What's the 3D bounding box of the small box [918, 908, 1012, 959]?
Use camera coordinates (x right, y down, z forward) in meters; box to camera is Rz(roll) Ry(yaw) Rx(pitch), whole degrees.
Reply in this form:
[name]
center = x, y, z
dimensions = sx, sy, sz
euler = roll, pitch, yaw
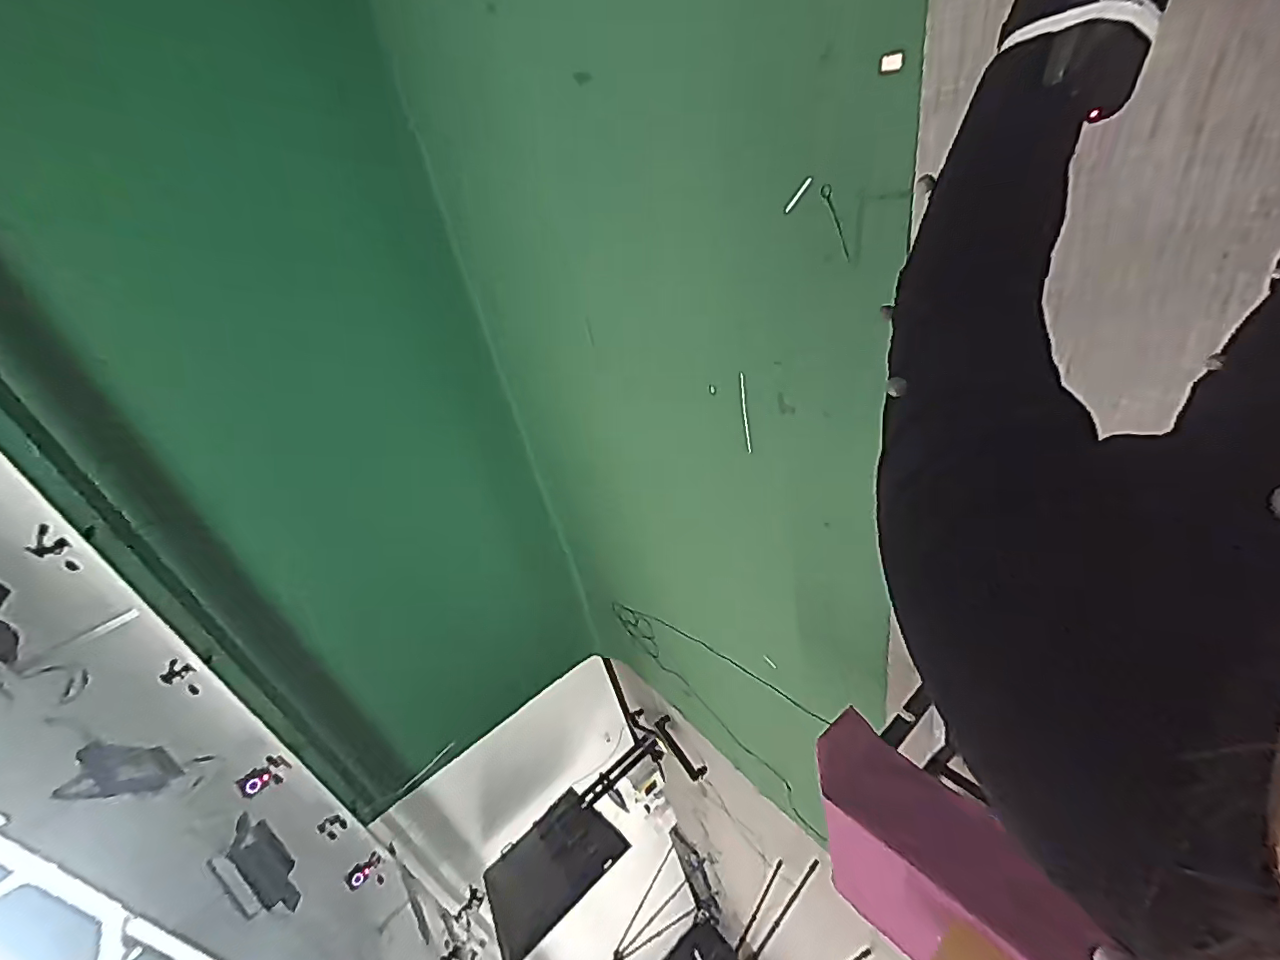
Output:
[small box]
center = 0.814, 1.233, 1.345
dimensions = 0.179, 0.176, 0.168
euler = 26, 139, 48
